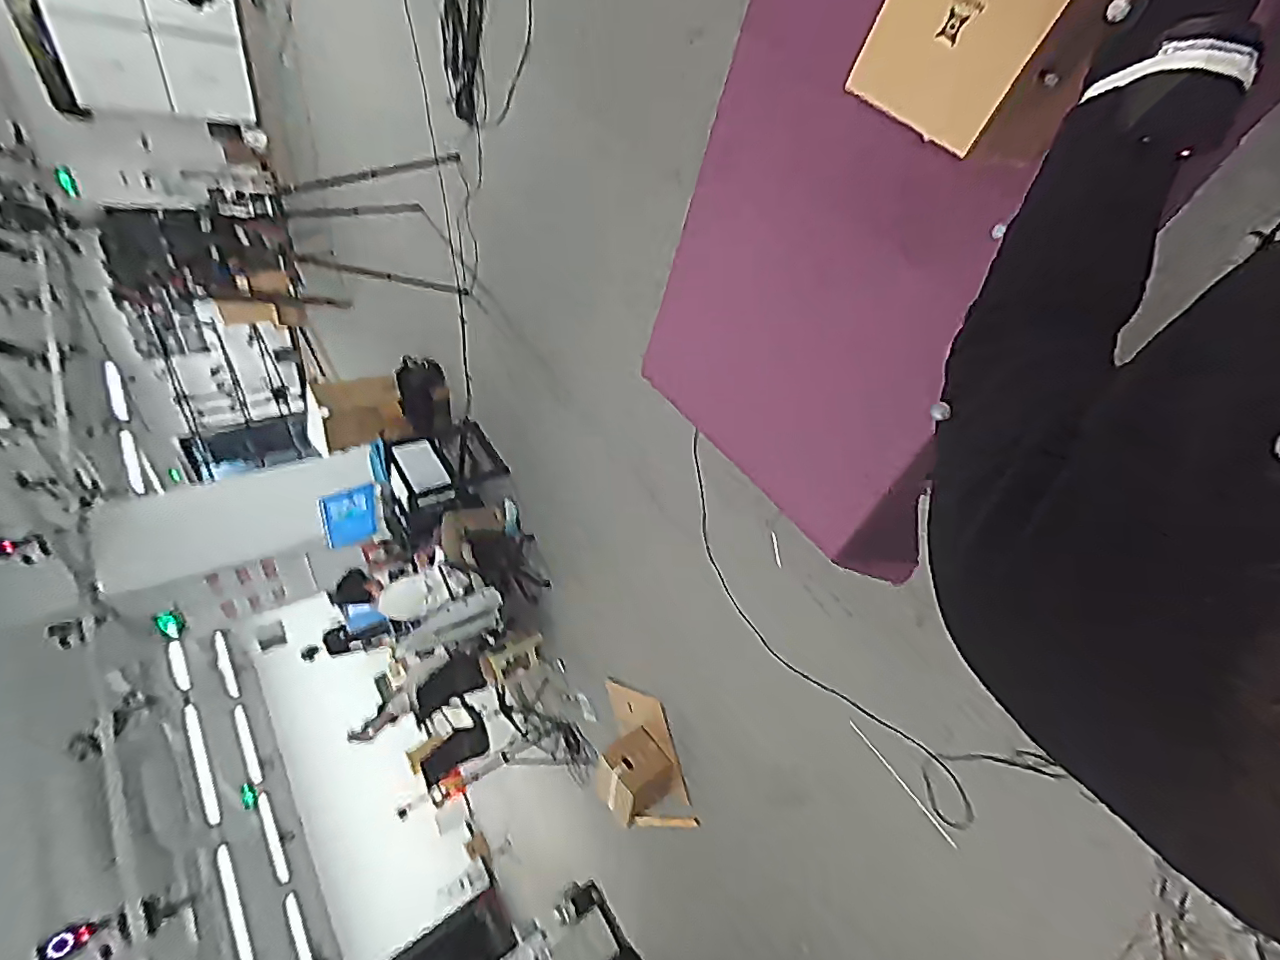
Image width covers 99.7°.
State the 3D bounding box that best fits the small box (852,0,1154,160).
[{"bbox_3d":[0.367,-0.452,0.552,0.168,0.176,0.179,53,142,24],"label":"small box"}]
